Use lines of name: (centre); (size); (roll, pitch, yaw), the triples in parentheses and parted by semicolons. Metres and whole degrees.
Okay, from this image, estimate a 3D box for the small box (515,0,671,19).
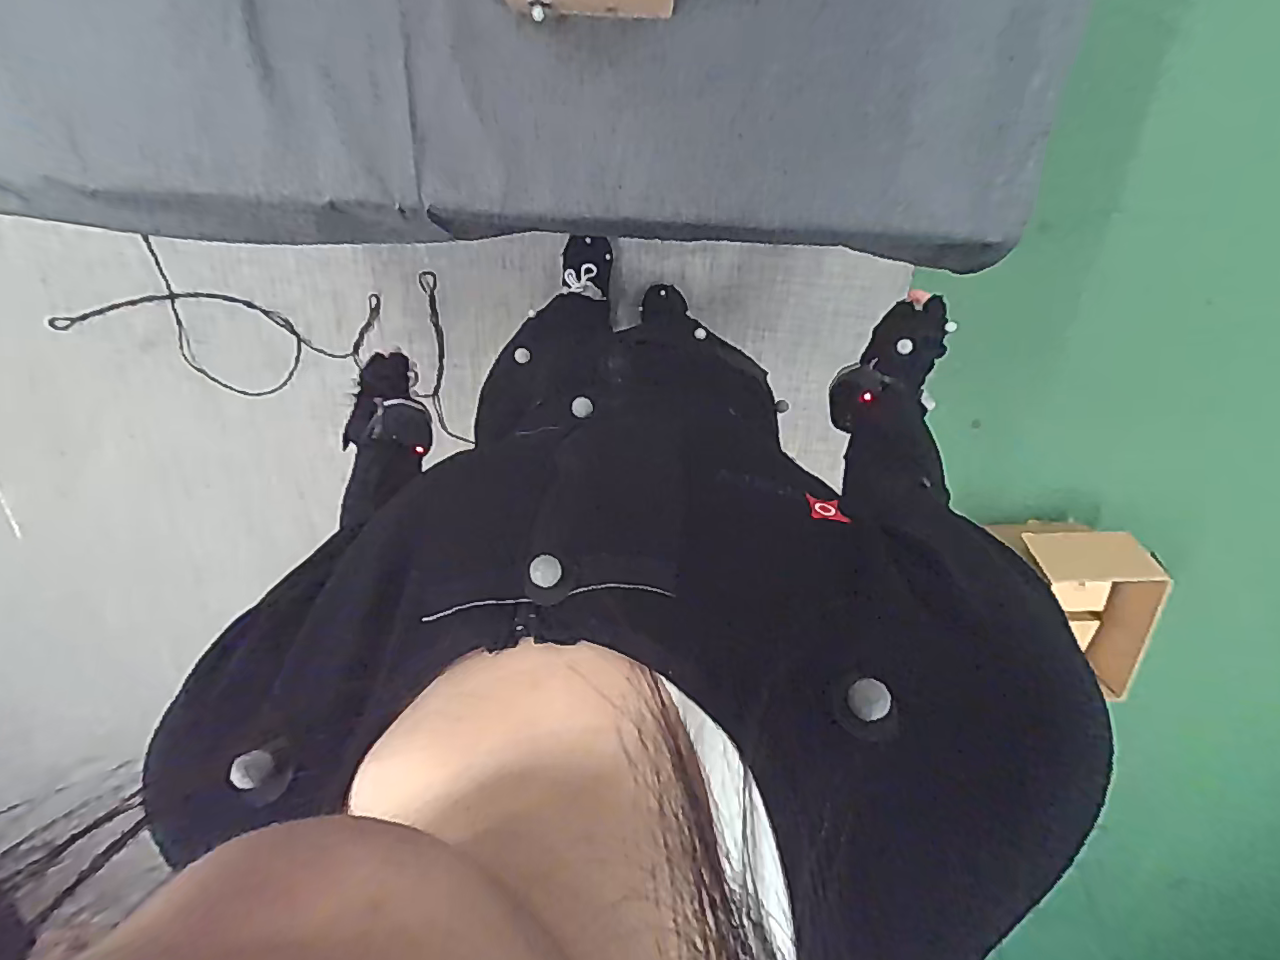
small box: (-0.048, -0.518, 0.447); (0.168, 0.176, 0.179); (2, 113, 0)
